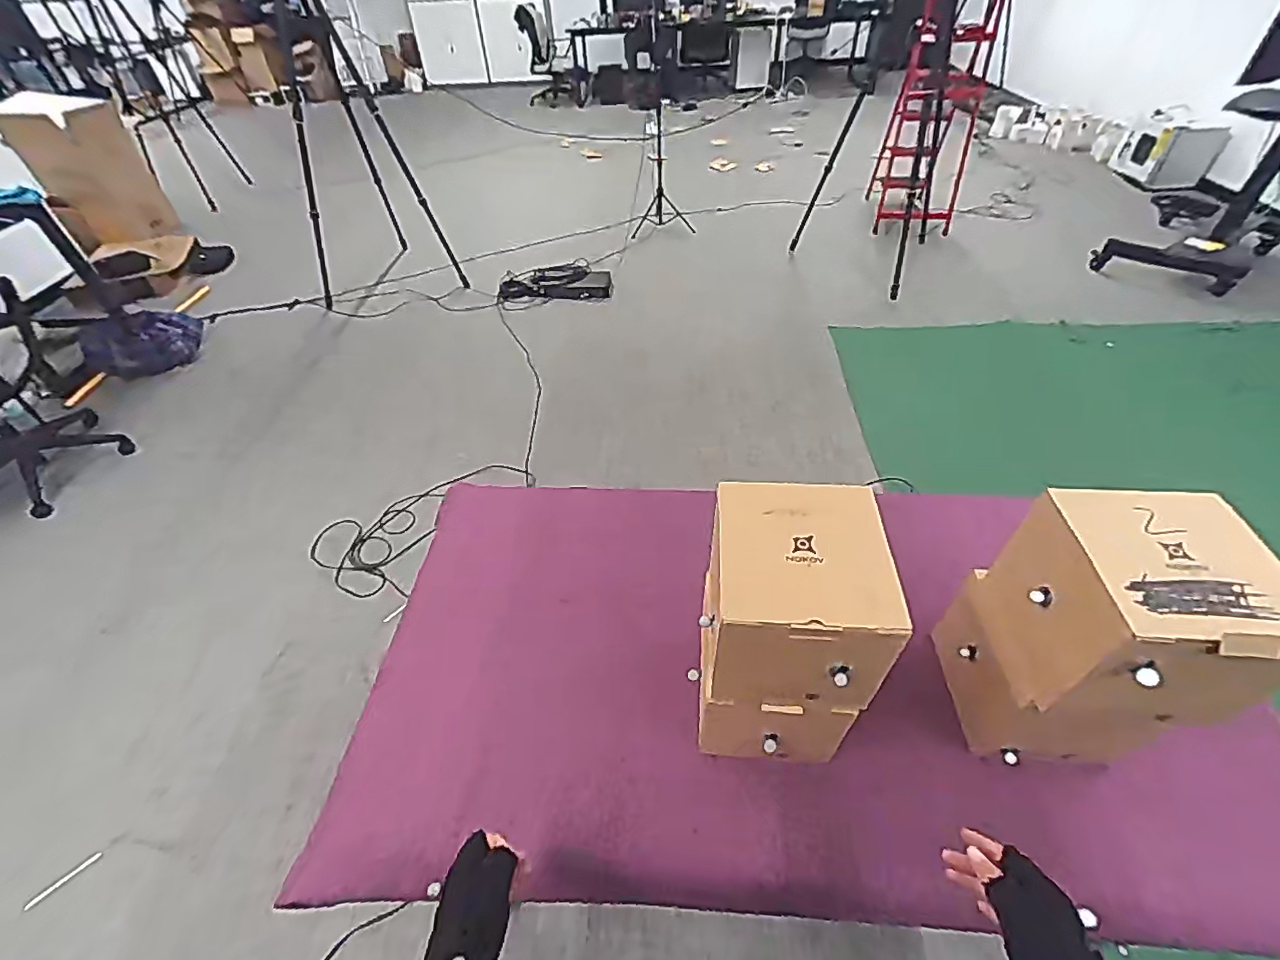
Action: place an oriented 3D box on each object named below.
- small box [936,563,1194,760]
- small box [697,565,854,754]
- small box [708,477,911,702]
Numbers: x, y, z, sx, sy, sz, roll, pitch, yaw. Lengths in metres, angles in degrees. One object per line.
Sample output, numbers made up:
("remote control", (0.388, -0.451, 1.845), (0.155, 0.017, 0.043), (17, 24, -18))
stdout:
("small box", (0.502, 0.229, 0.676), (0.168, 0.176, 0.179), (5, 47, 5))
("small box", (0.161, 0.232, 0.694), (0.168, 0.176, 0.179), (3, 47, 5))
("small box", (0.162, 0.118, 0.577), (0.168, 0.176, 0.179), (3, 46, 5))
